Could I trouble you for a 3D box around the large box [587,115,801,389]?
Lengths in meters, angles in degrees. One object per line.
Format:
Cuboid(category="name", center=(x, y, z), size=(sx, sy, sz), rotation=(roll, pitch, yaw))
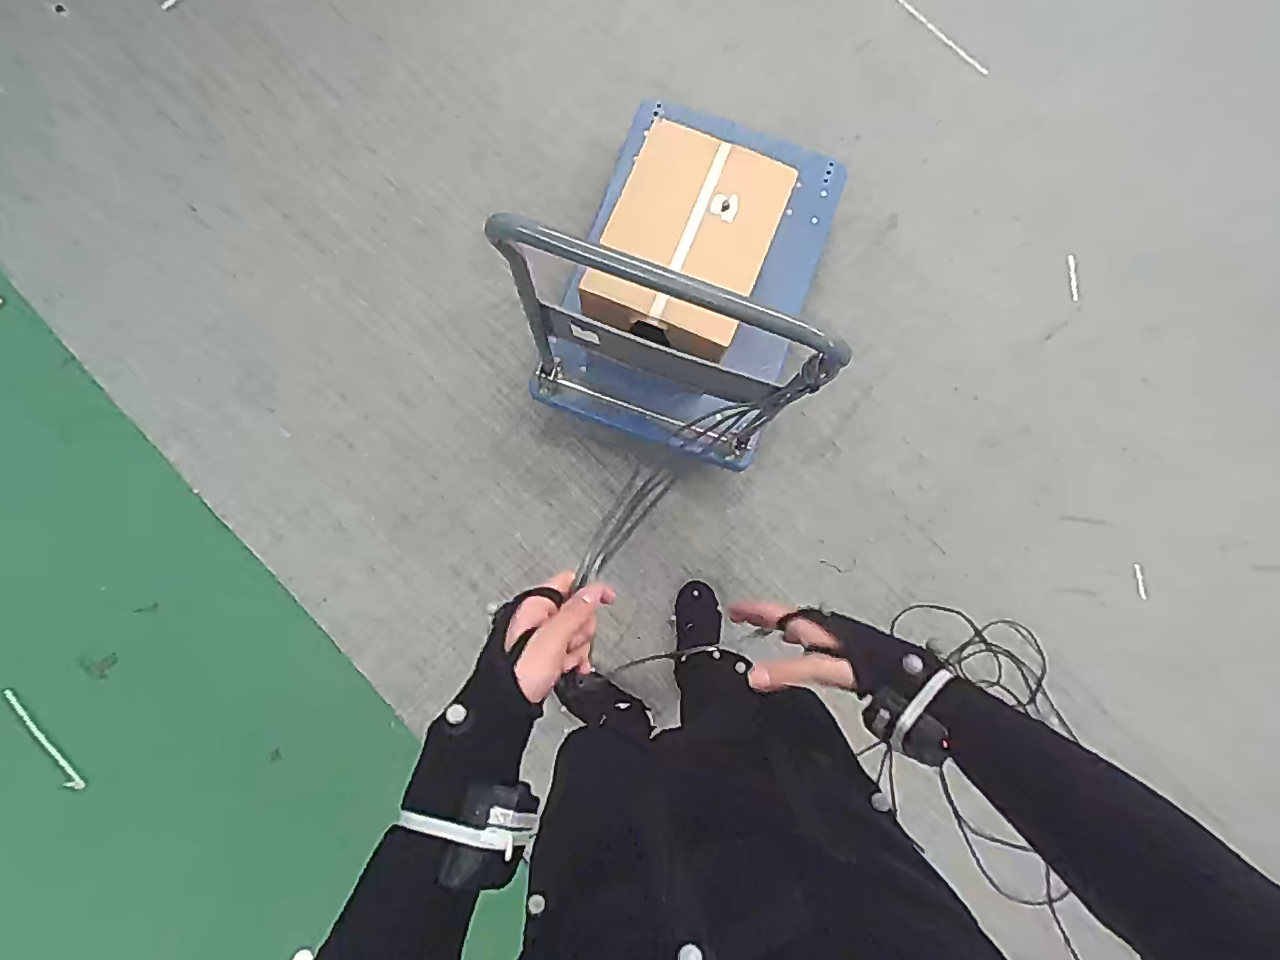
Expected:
Cuboid(category="large box", center=(0.105, -0.471, 1.192), size=(0.320, 0.320, 0.408), rotation=(22, 82, 1))
